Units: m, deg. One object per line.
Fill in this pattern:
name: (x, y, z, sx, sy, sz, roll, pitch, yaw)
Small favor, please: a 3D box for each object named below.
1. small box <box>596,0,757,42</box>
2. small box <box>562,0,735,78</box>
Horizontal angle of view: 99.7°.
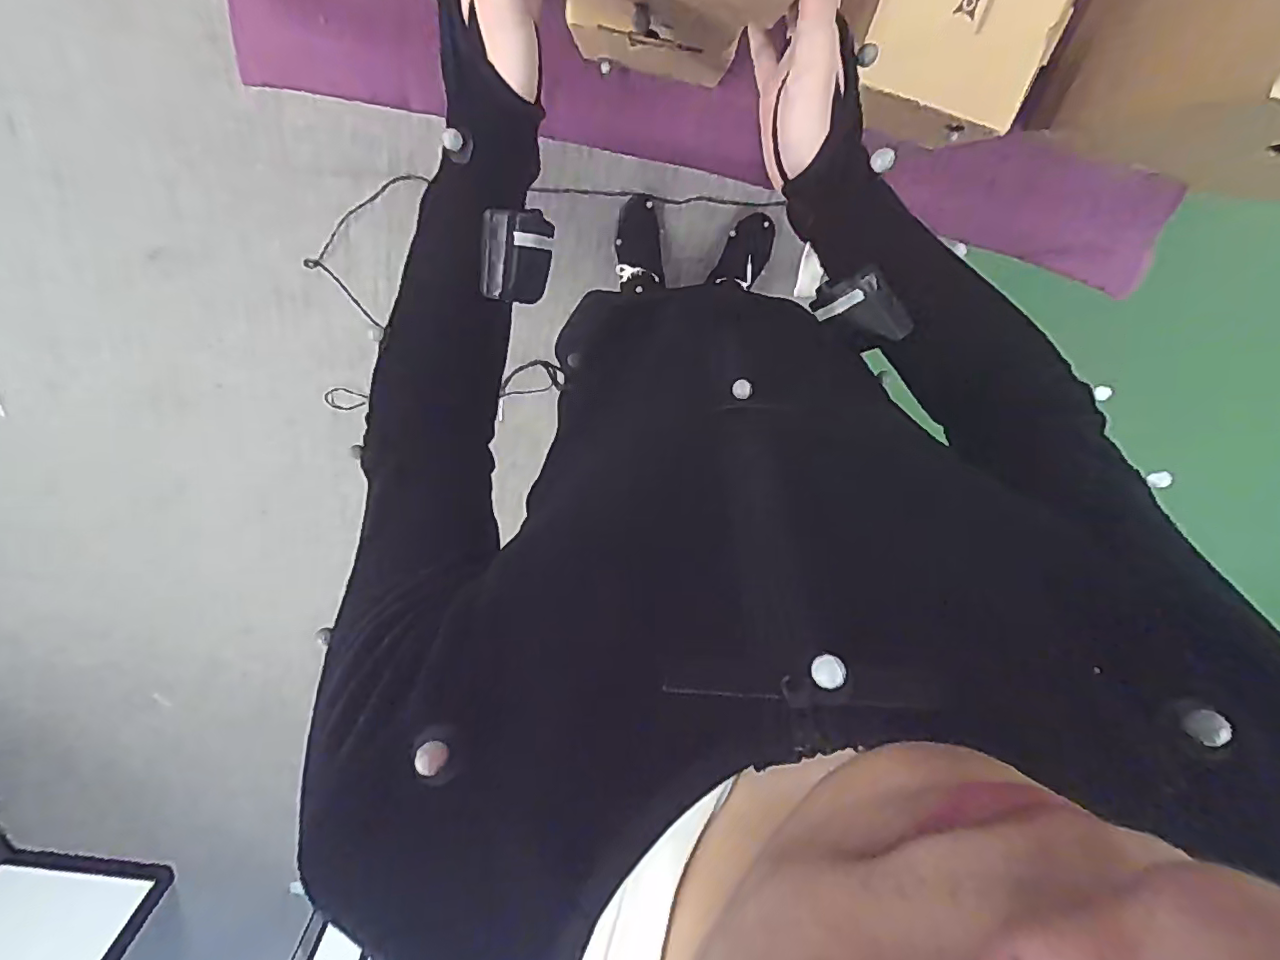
small box: (0.027, -0.460, 0.388, 0.168, 0.176, 0.179, 14, 119, -7)
small box: (0.024, -0.529, 0.537, 0.168, 0.176, 0.179, 9, 118, -5)
